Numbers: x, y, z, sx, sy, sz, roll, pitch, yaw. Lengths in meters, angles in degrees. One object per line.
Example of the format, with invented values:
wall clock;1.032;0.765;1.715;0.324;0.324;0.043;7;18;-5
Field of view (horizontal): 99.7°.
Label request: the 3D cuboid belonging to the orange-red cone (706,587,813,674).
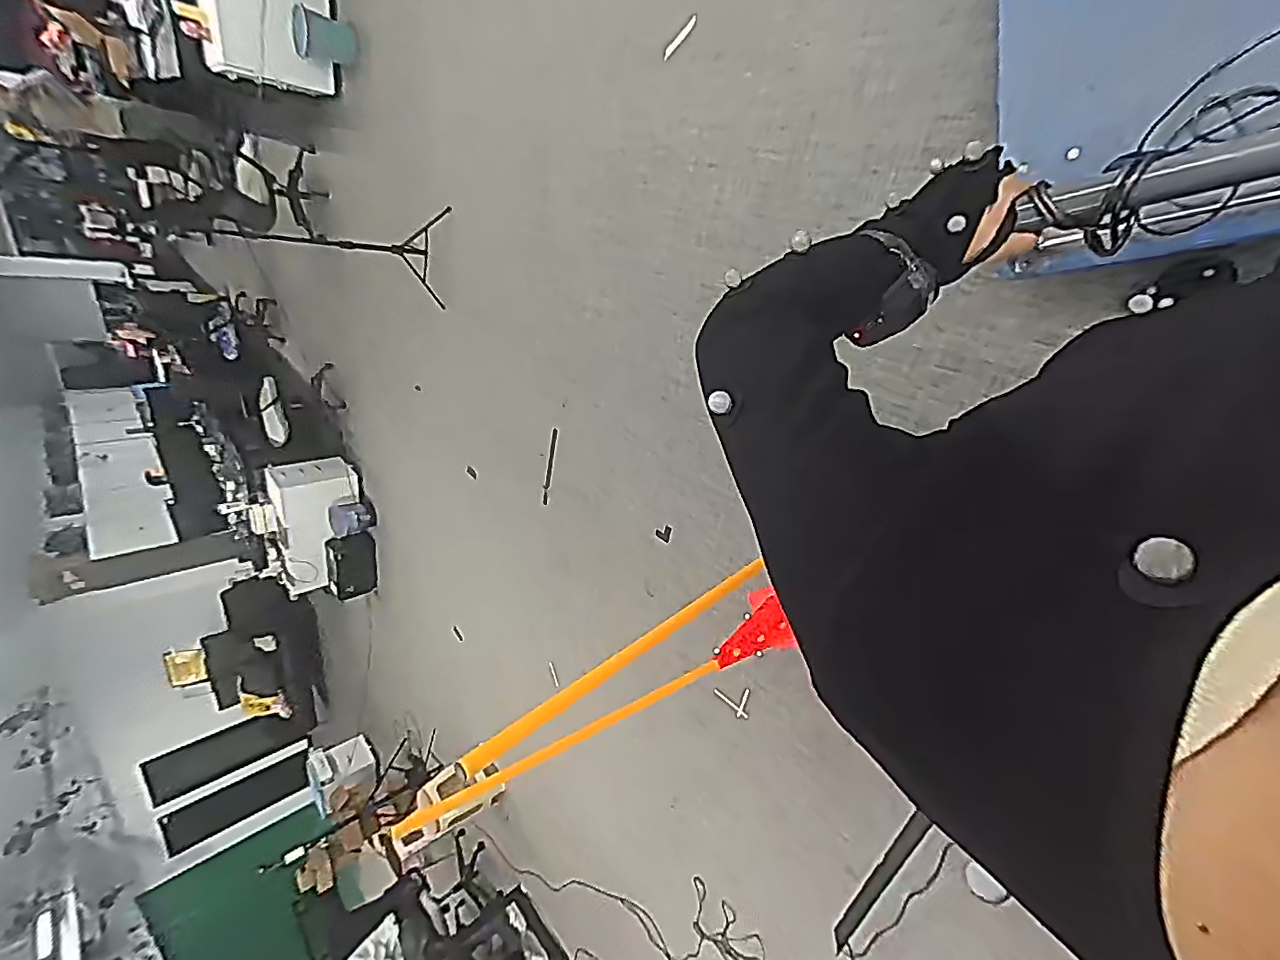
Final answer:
orange-red cone;0.317;0.474;1.591;0.199;0.360;0.198;-27;83;45
